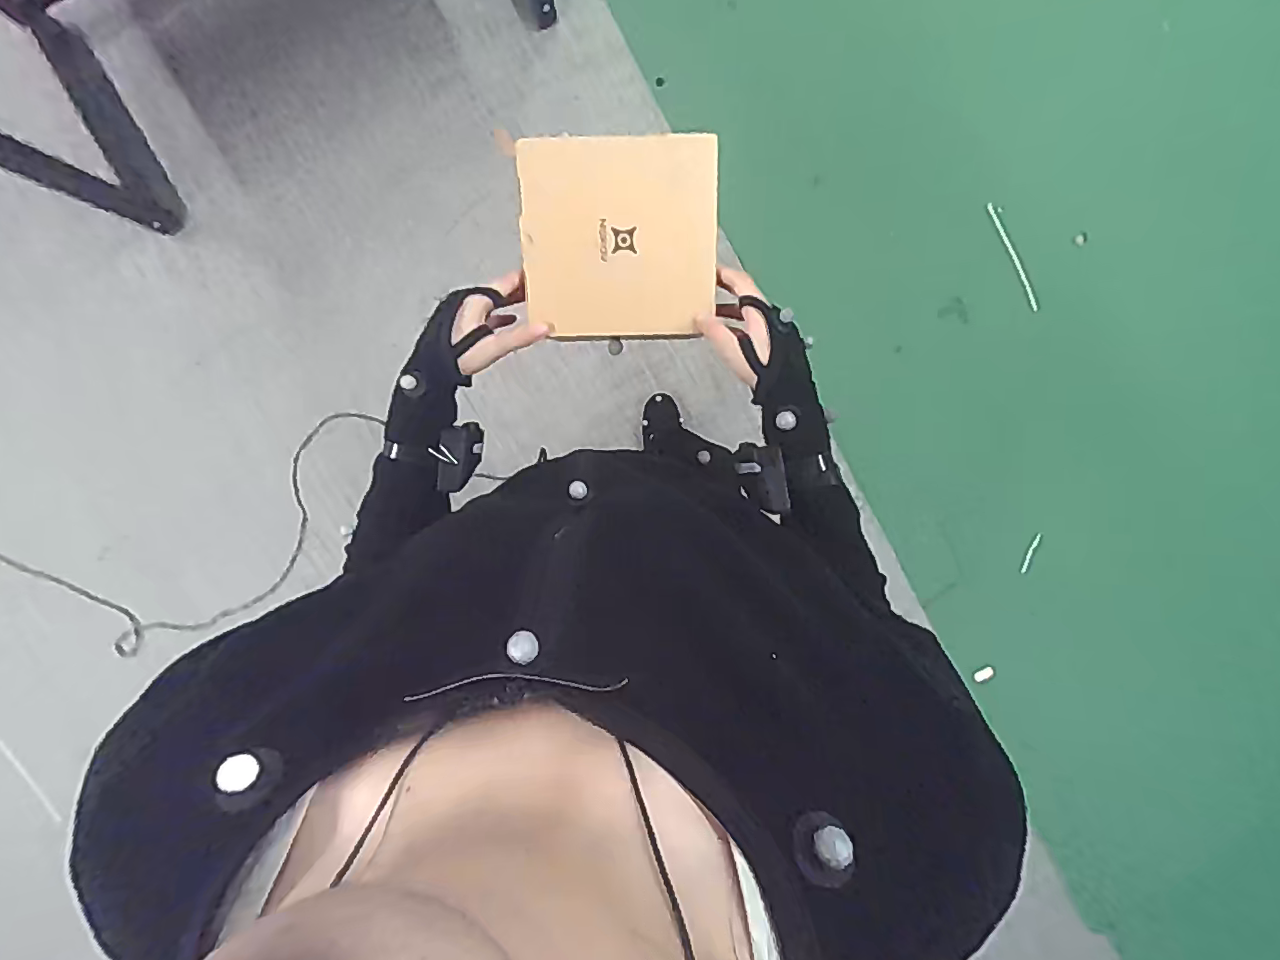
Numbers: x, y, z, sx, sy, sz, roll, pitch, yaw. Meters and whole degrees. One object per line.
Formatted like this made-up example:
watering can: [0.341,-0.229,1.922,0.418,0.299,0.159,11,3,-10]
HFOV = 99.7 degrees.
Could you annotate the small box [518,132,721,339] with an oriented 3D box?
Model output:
small box: [-0.013,-0.235,0.558,0.179,0.176,0.168,-2,104,4]
